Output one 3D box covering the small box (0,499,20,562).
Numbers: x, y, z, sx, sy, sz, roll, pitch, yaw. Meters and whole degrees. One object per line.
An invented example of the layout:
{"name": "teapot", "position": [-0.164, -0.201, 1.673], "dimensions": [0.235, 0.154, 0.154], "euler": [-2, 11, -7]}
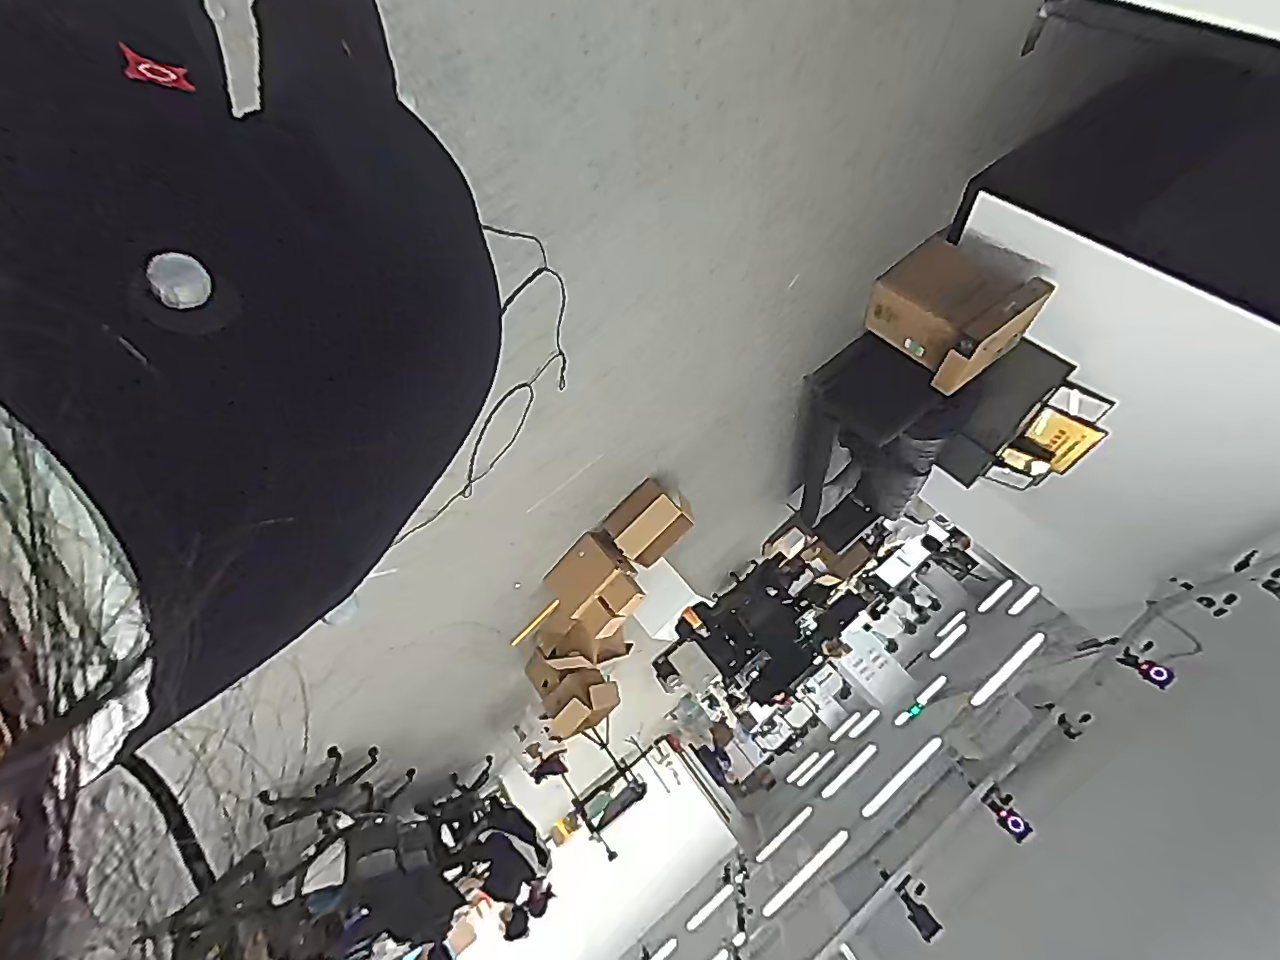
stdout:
{"name": "small box", "position": [-1.509, 0.118, 1.156], "dimensions": [0.179, 0.176, 0.168], "euler": [-41, 154, -3]}
